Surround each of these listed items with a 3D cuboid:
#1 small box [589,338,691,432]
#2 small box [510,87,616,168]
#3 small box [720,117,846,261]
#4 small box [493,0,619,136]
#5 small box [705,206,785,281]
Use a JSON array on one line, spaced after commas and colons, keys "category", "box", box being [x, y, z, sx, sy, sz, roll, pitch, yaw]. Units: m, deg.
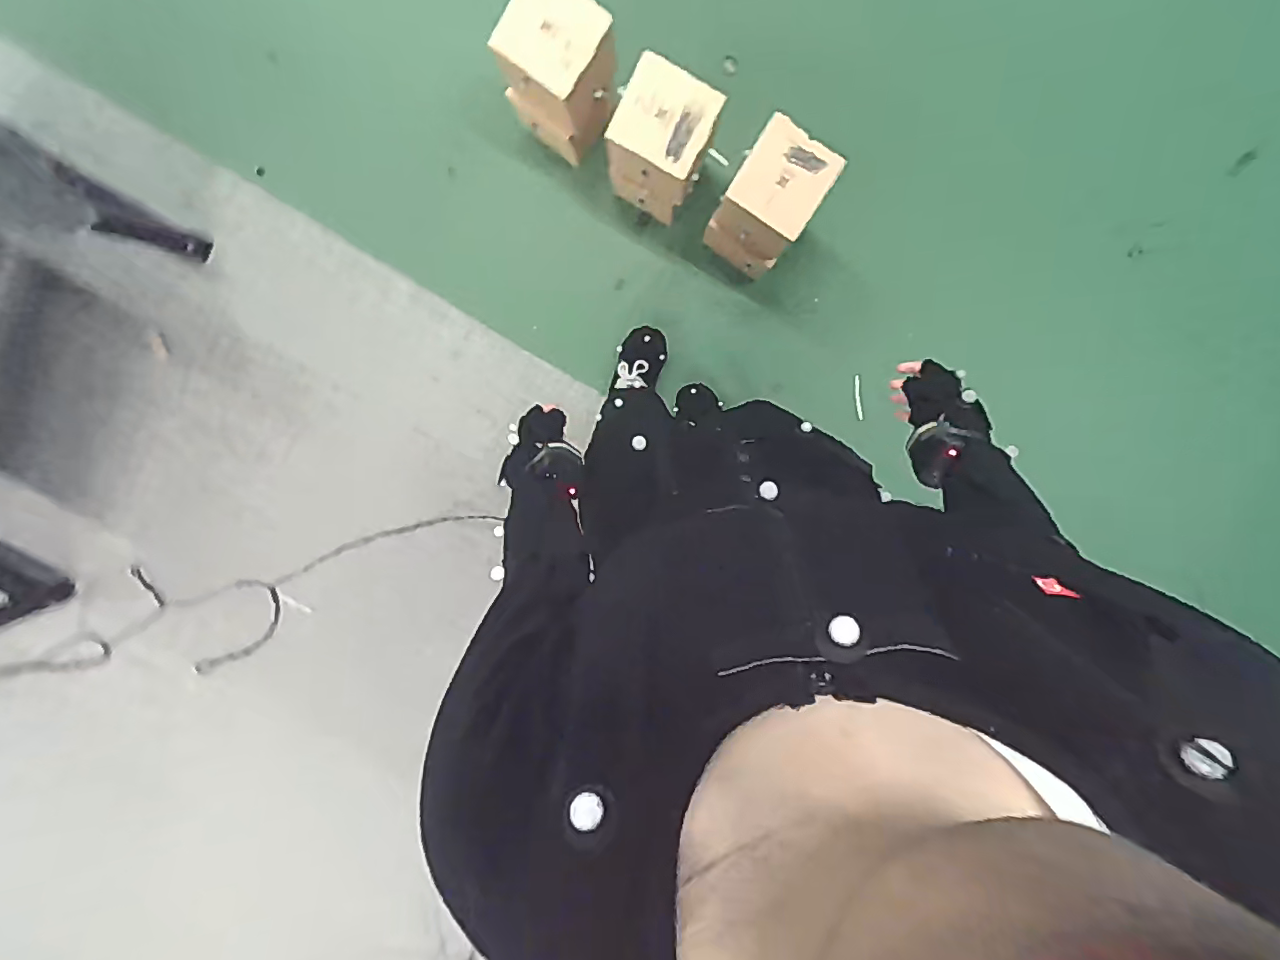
[{"category": "small box", "box": [-0.004, -0.237, 1.359, 0.168, 0.176, 0.179, -35, 83, 24]}, {"category": "small box", "box": [-0.167, -0.865, 1.244, 0.168, 0.176, 0.179, 36, 99, -5]}, {"category": "small box", "box": [0.283, -0.587, 1.118, 0.168, 0.176, 0.179, 33, 99, -5]}, {"category": "small box", "box": [-0.158, -0.838, 1.081, 0.179, 0.176, 0.168, 35, 99, -4]}, {"category": "small box", "box": [0.274, -0.596, 1.282, 0.179, 0.176, 0.168, 35, 99, -4]}]
